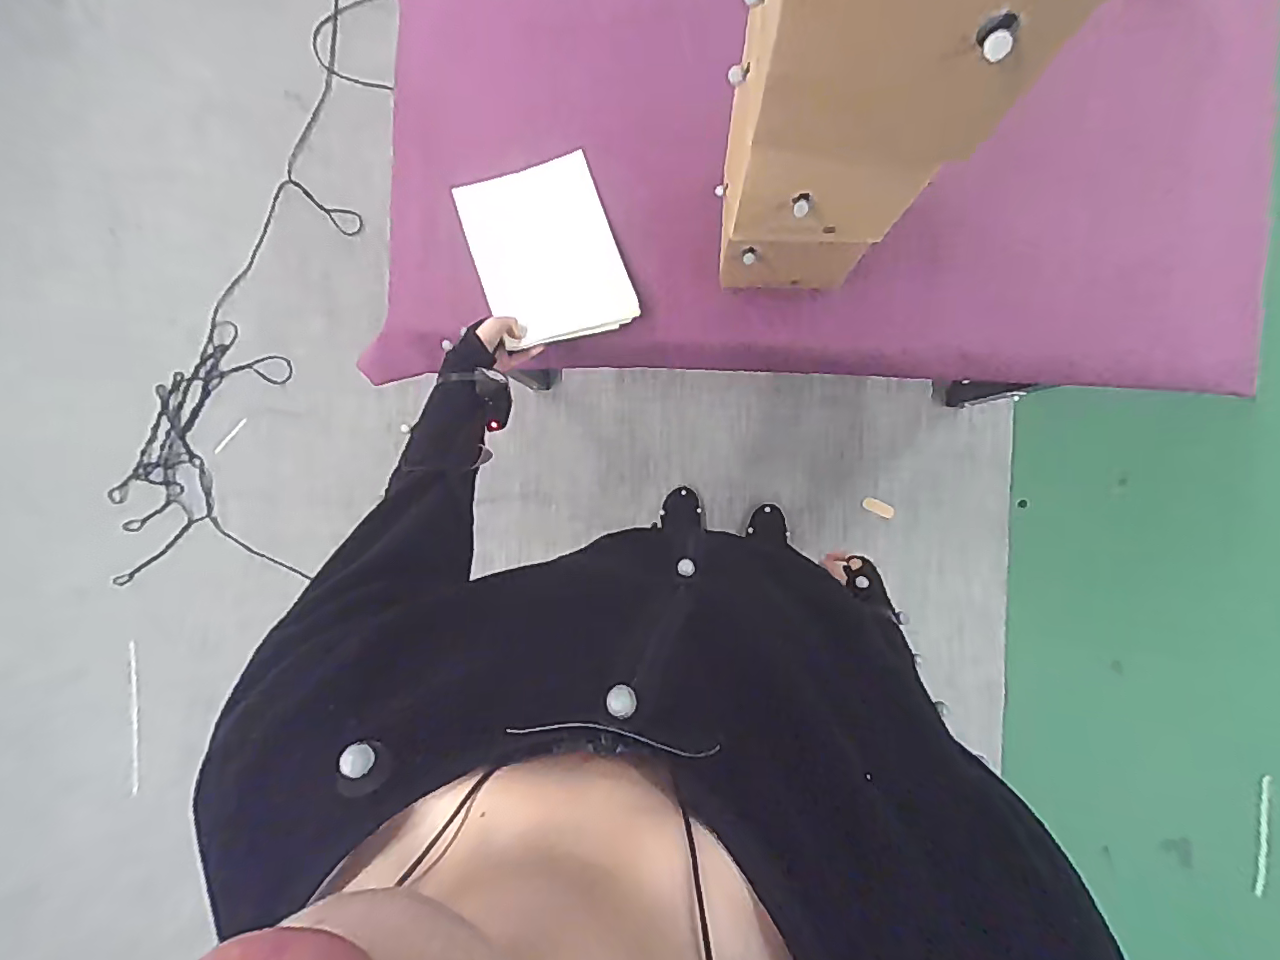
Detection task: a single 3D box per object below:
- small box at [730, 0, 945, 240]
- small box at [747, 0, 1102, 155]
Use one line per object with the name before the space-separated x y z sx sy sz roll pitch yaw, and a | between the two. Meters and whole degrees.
small box | 0.179 -0.352 0.524 0.168 0.176 0.179 3 90 4
small box | 0.176 -0.346 0.359 0.179 0.176 0.168 5 89 4
